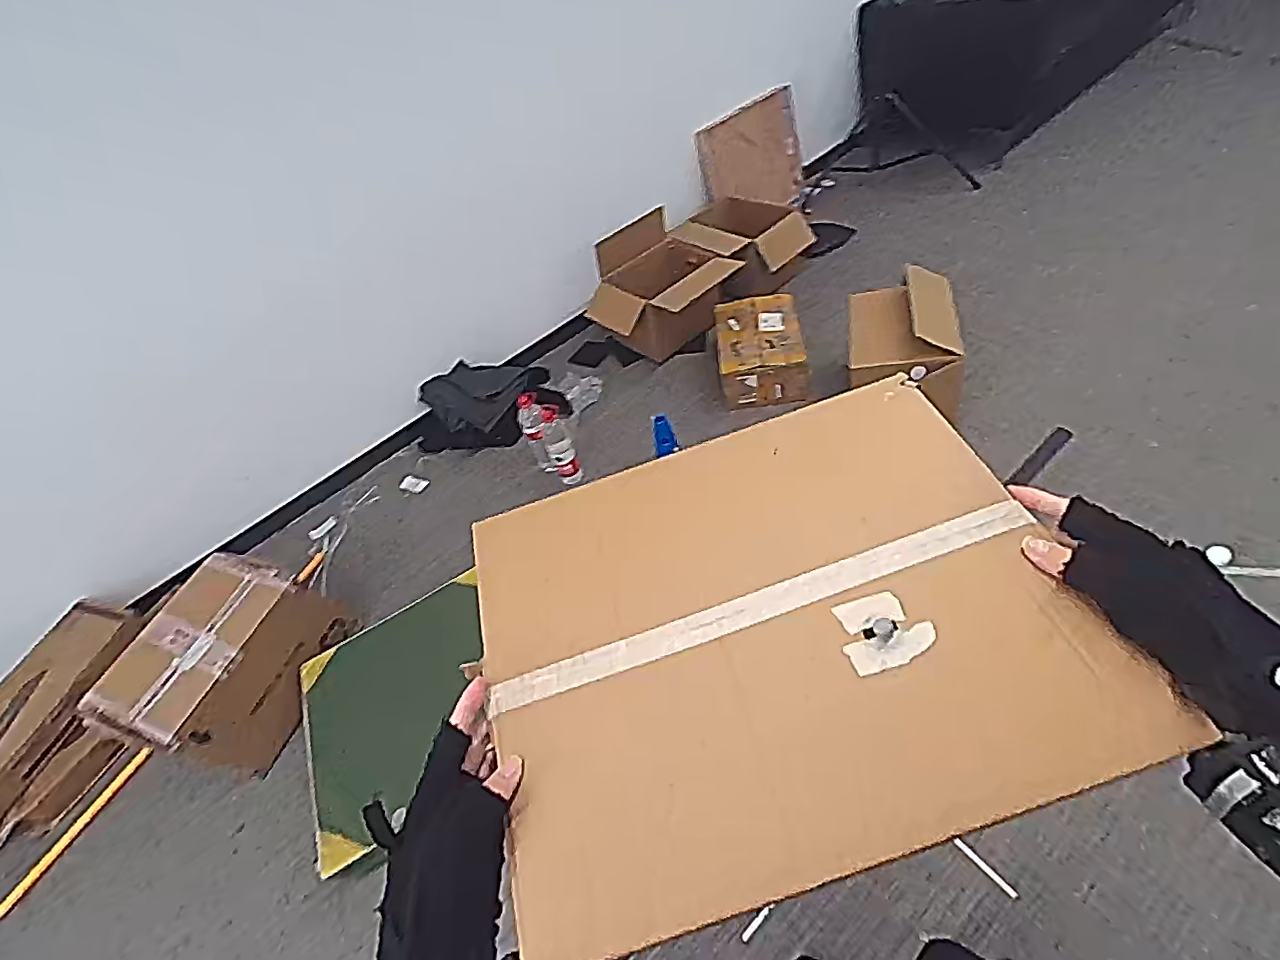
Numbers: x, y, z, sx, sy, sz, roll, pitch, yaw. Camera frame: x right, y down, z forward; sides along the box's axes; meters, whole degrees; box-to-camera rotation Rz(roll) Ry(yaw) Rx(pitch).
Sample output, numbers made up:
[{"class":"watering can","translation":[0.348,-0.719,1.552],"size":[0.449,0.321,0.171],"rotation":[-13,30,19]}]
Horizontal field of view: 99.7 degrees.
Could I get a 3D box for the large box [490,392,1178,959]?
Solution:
[{"class":"large box","translation":[0.118,0.183,0.520],"size":[0.408,0.320,0.320],"rotation":[-19,54,-1]}]
